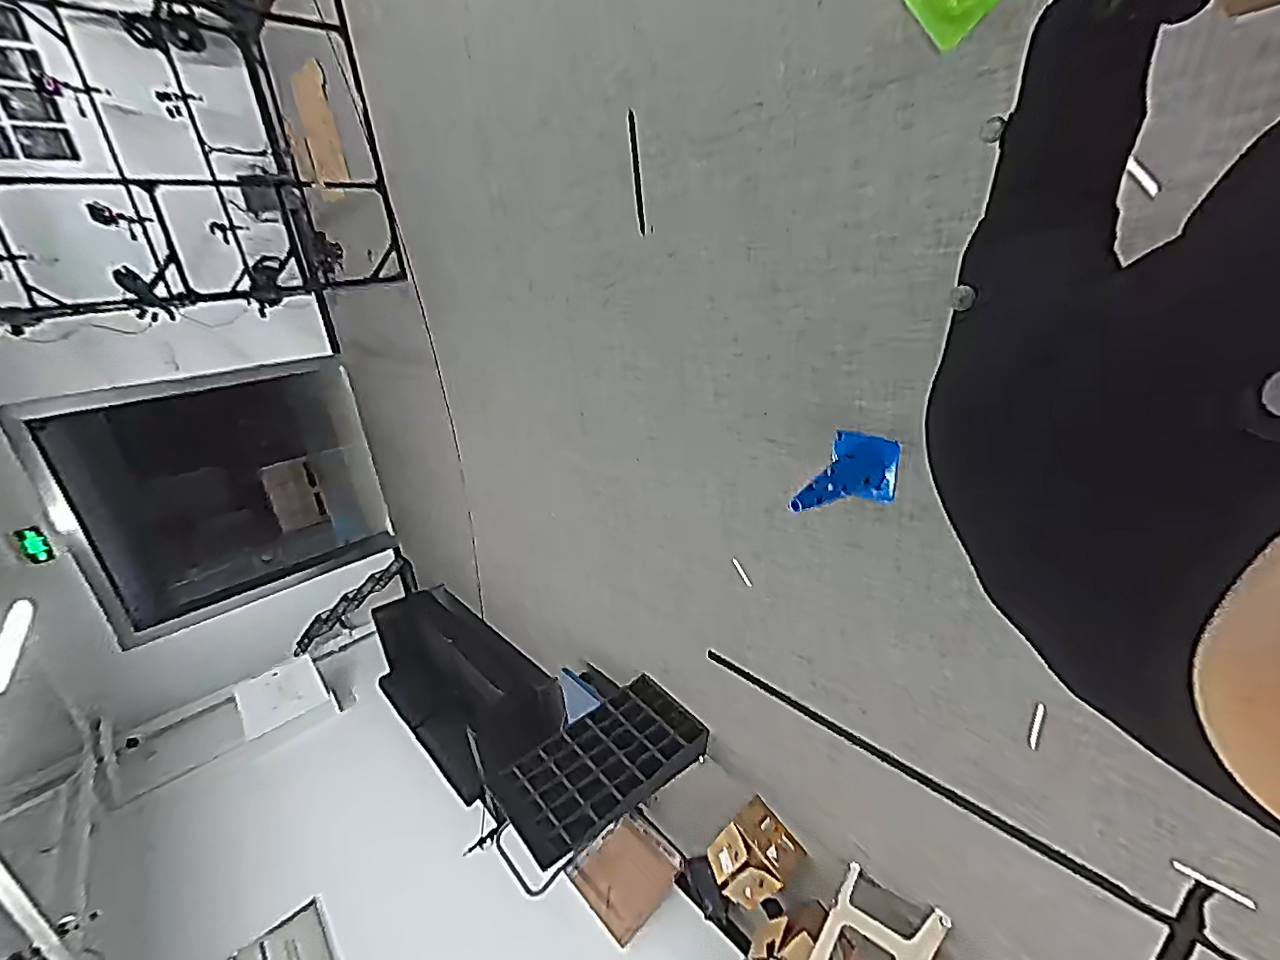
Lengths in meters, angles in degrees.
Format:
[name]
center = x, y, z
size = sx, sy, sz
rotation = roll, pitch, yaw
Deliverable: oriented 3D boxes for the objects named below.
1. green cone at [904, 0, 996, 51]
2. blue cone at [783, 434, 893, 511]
[green cone]
center = 0.529, -0.988, 1.006
size = 0.200, 0.368, 0.202
rotation = 62, 145, 9
[blue cone]
center = 0.543, 0.012, 1.536
size = 0.192, 0.380, 0.193
rotation = 23, 125, 45
